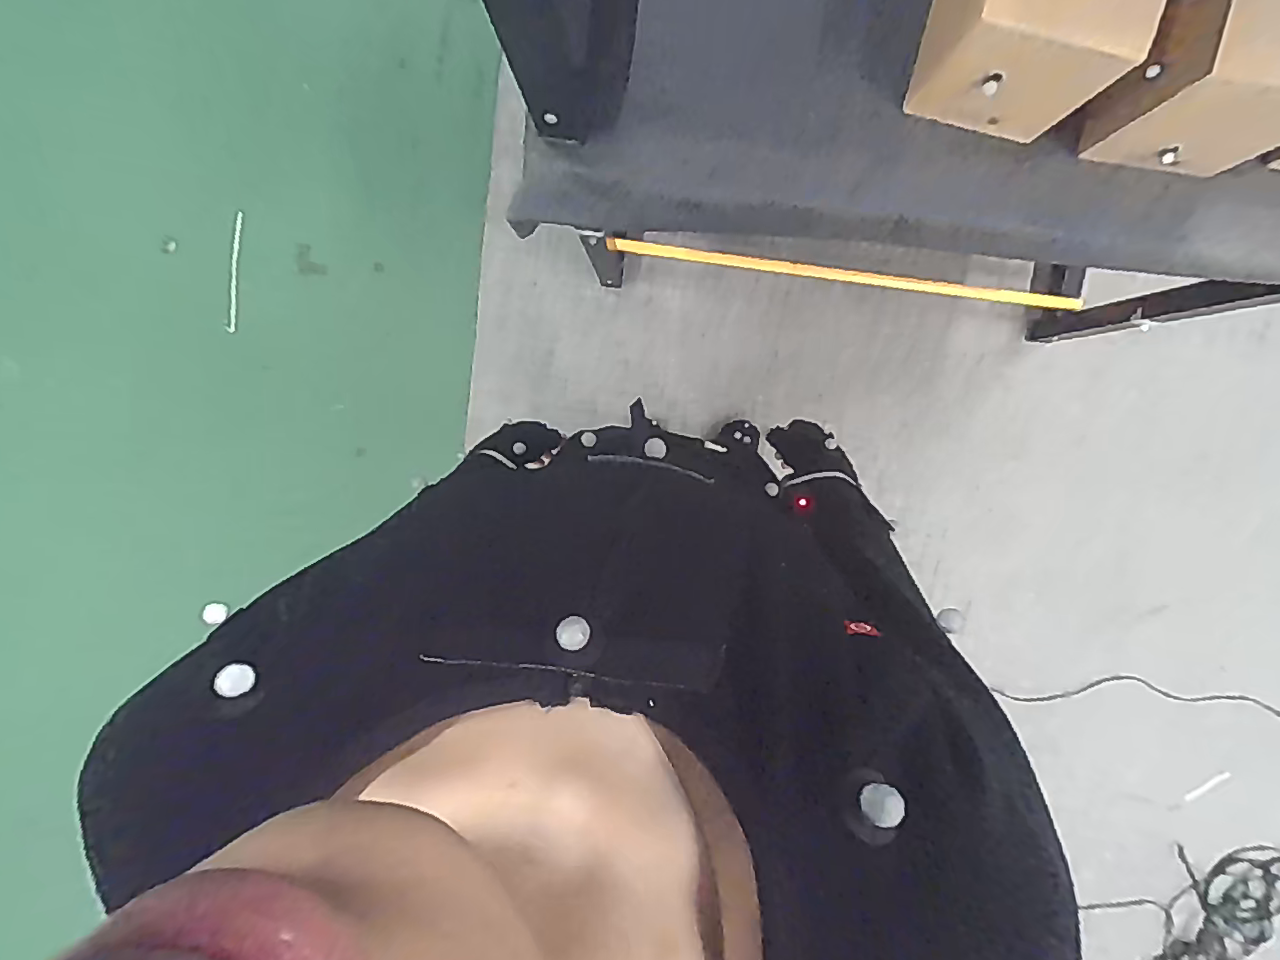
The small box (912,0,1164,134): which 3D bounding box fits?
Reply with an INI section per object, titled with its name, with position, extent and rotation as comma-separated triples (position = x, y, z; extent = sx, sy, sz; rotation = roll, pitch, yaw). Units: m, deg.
[small box]
position = 0.425, -0.515, 0.582
extent = 0.168, 0.176, 0.179
rotation = 14, 97, 0
